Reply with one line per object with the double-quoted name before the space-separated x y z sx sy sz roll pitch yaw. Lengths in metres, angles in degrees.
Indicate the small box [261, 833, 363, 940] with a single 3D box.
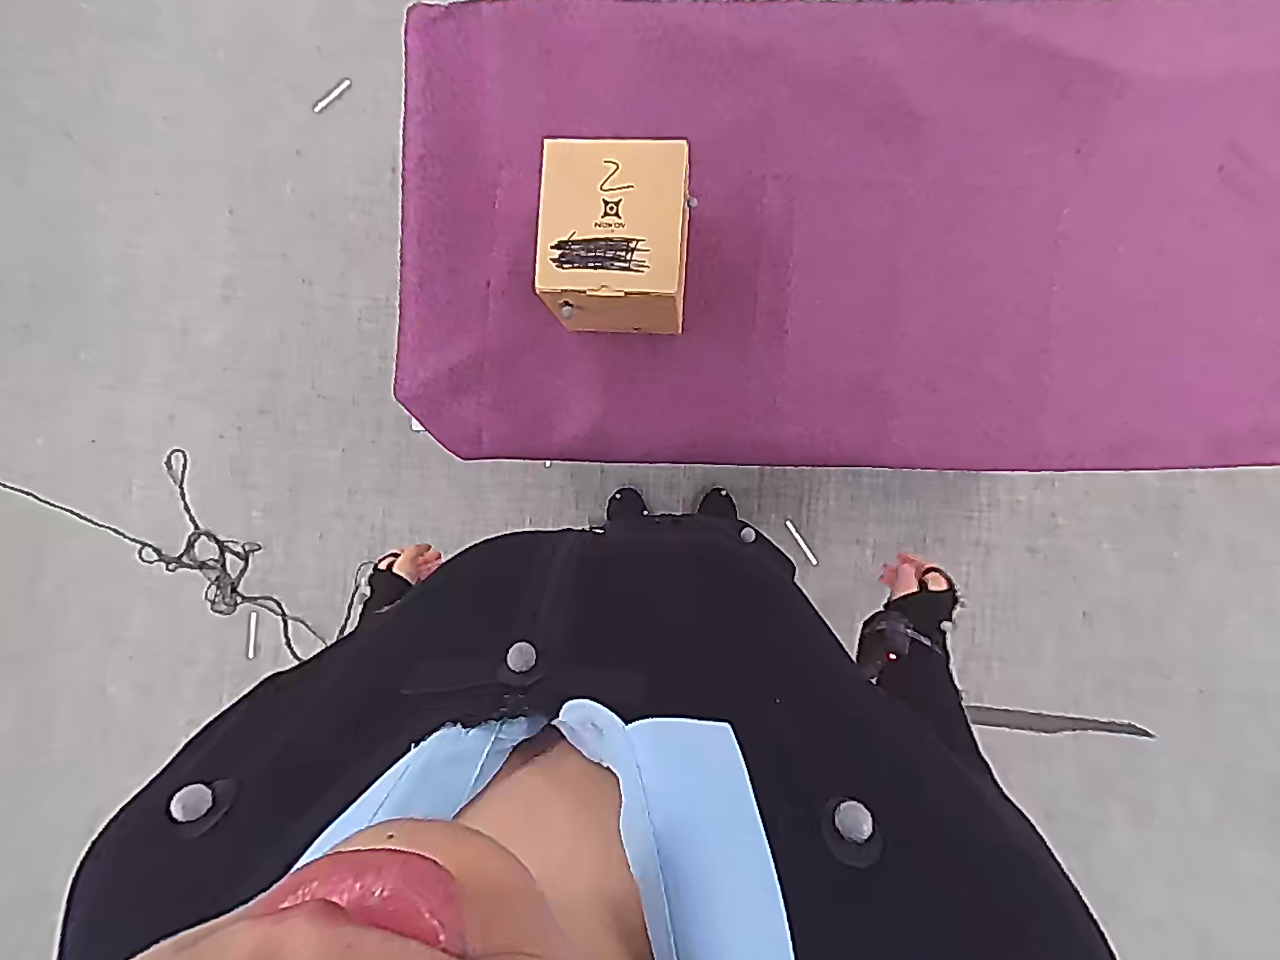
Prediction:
"small box" -0.900 1.120 1.505 0.179 0.176 0.168 -13 90 5
